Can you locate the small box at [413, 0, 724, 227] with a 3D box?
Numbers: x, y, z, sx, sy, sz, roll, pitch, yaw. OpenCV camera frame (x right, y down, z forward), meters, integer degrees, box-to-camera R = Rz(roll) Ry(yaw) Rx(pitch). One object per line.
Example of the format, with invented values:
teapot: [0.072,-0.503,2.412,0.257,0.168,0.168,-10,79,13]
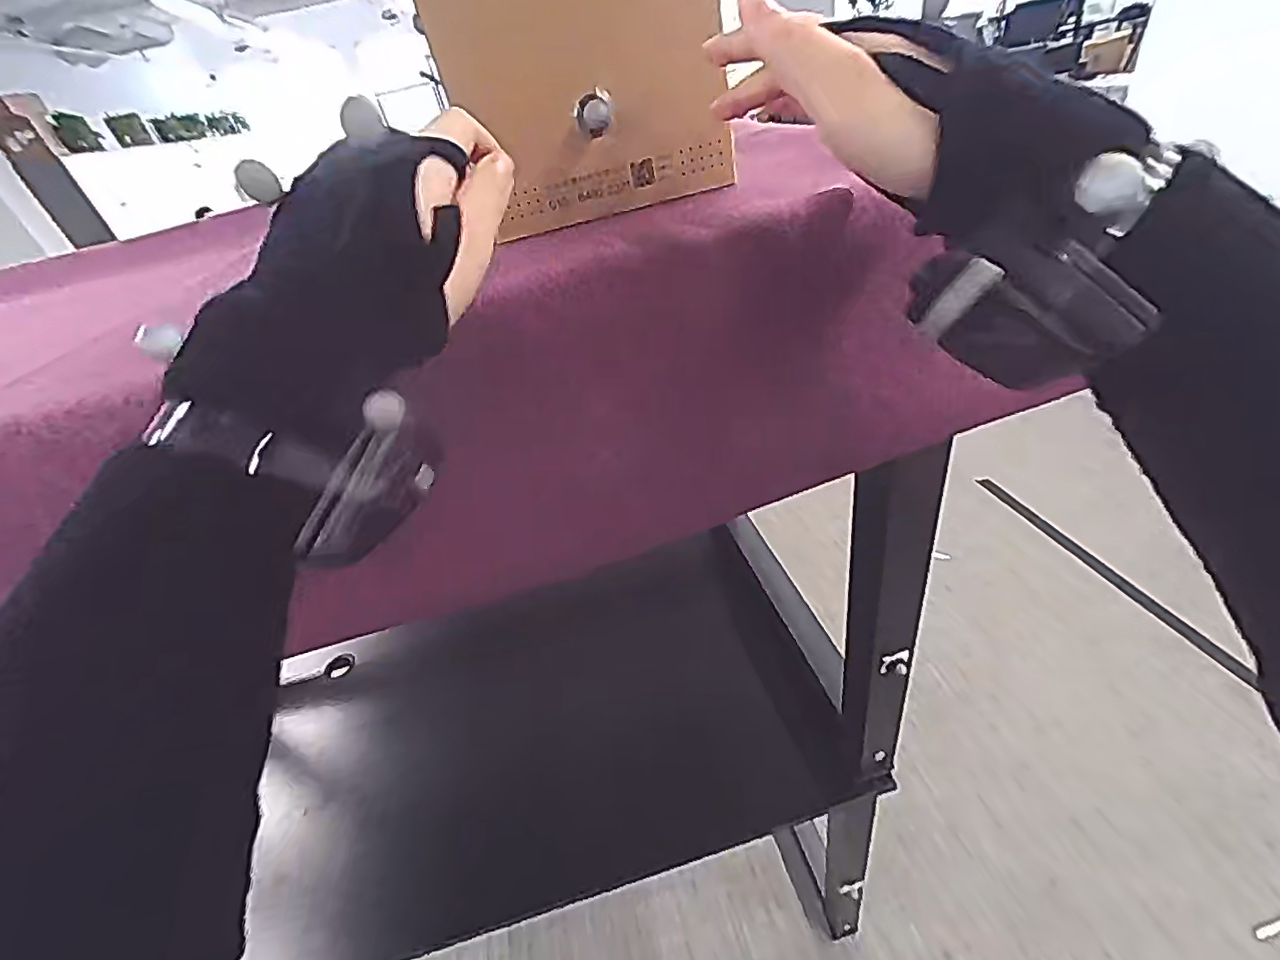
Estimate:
small box: [-0.049,-0.288,0.371,0.168,0.176,0.179,-15,36,-1]
